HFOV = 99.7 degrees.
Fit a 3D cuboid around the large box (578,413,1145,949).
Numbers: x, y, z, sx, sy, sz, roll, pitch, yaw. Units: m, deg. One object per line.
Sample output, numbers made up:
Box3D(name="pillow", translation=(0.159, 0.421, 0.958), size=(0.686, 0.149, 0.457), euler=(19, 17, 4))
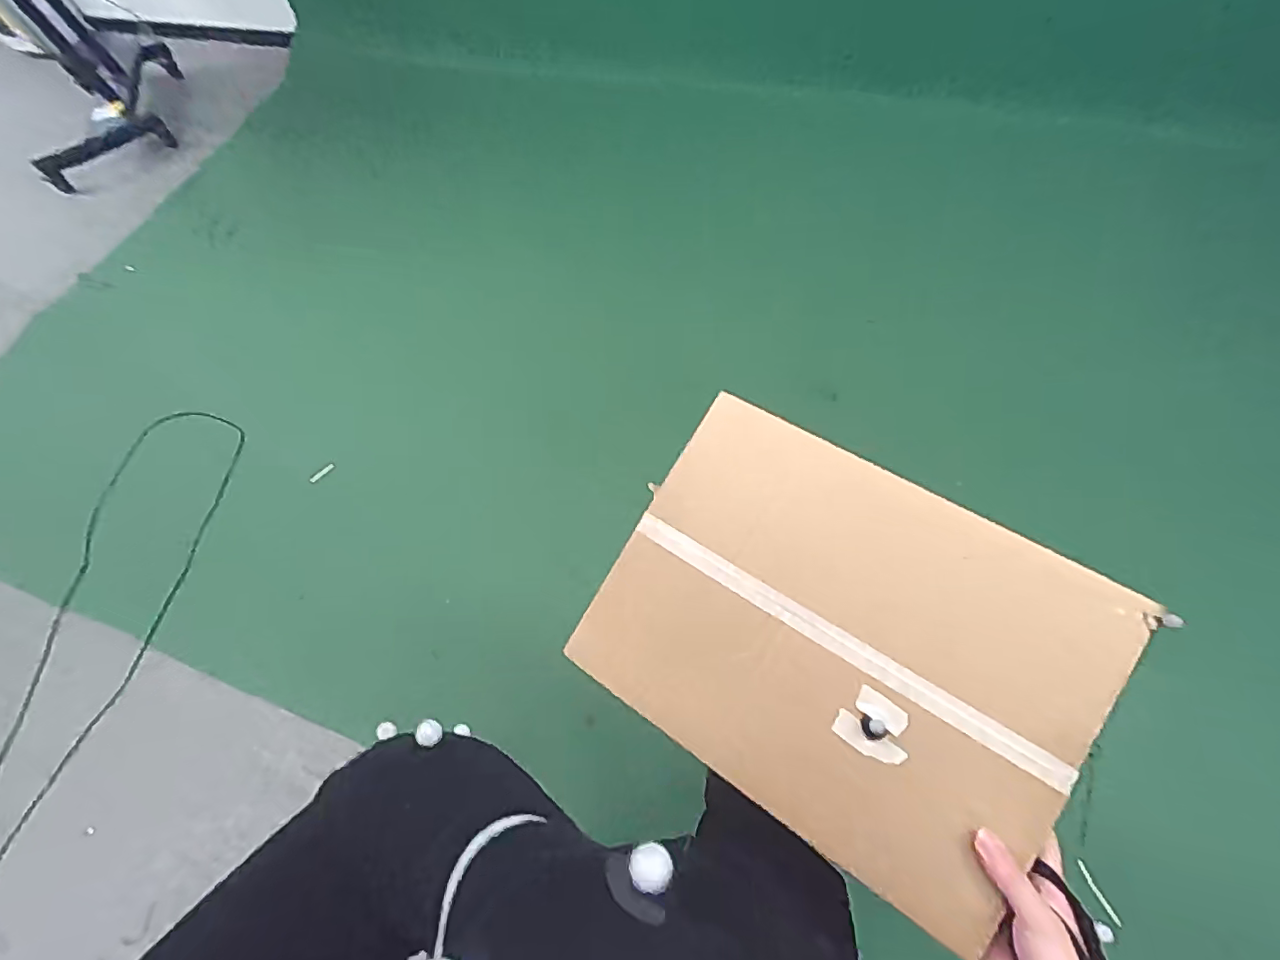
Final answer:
Box3D(name="large box", translation=(0.208, 0.180, 0.631), size=(0.408, 0.320, 0.320), euler=(29, 86, 19))
